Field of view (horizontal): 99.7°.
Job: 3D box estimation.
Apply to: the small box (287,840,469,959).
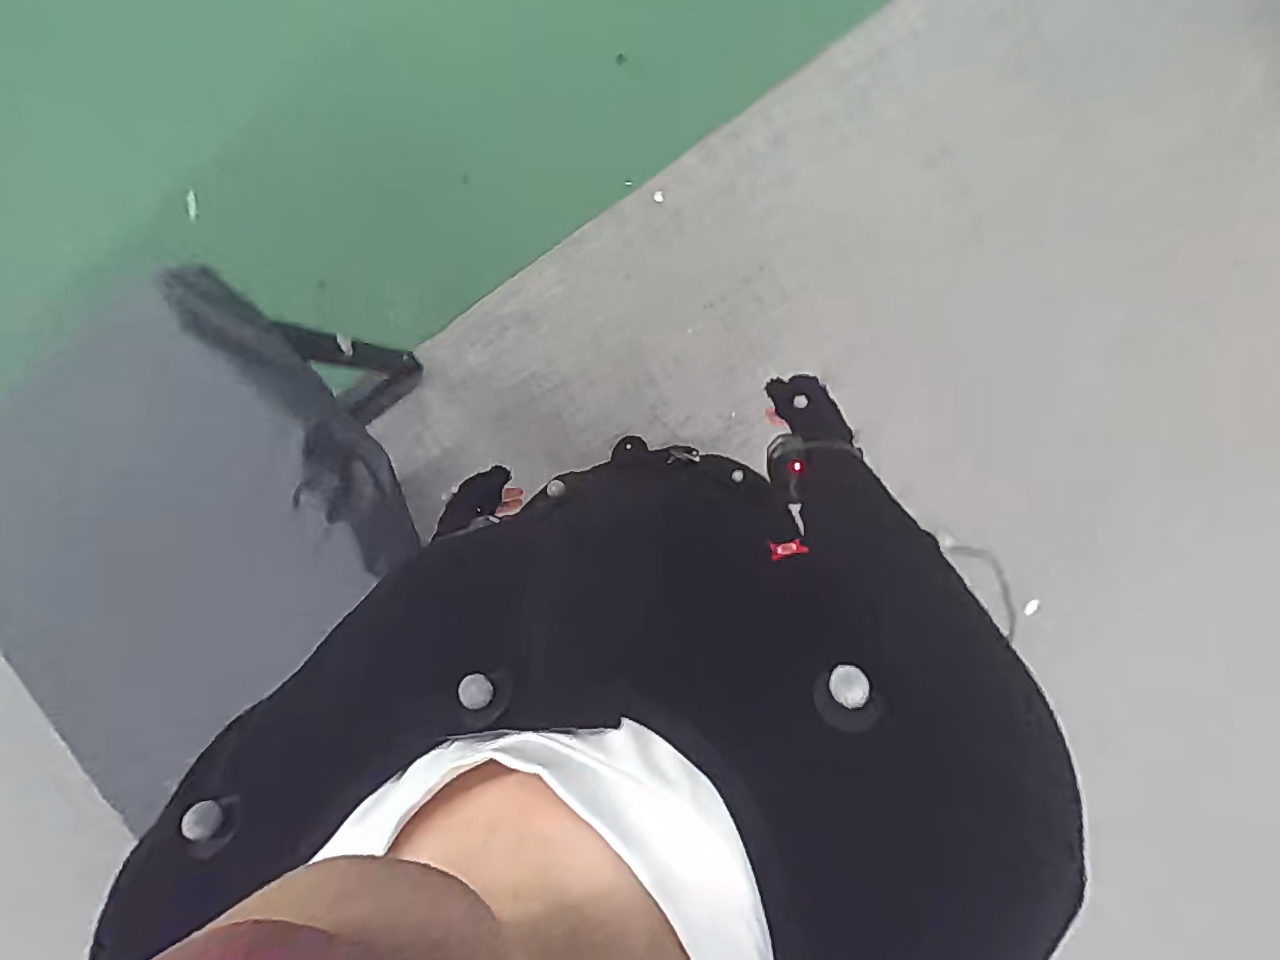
[{"bbox_3d":[-0.372,0.671,0.776,0.179,0.176,0.168,-36,90,9],"label":"small box"}]
